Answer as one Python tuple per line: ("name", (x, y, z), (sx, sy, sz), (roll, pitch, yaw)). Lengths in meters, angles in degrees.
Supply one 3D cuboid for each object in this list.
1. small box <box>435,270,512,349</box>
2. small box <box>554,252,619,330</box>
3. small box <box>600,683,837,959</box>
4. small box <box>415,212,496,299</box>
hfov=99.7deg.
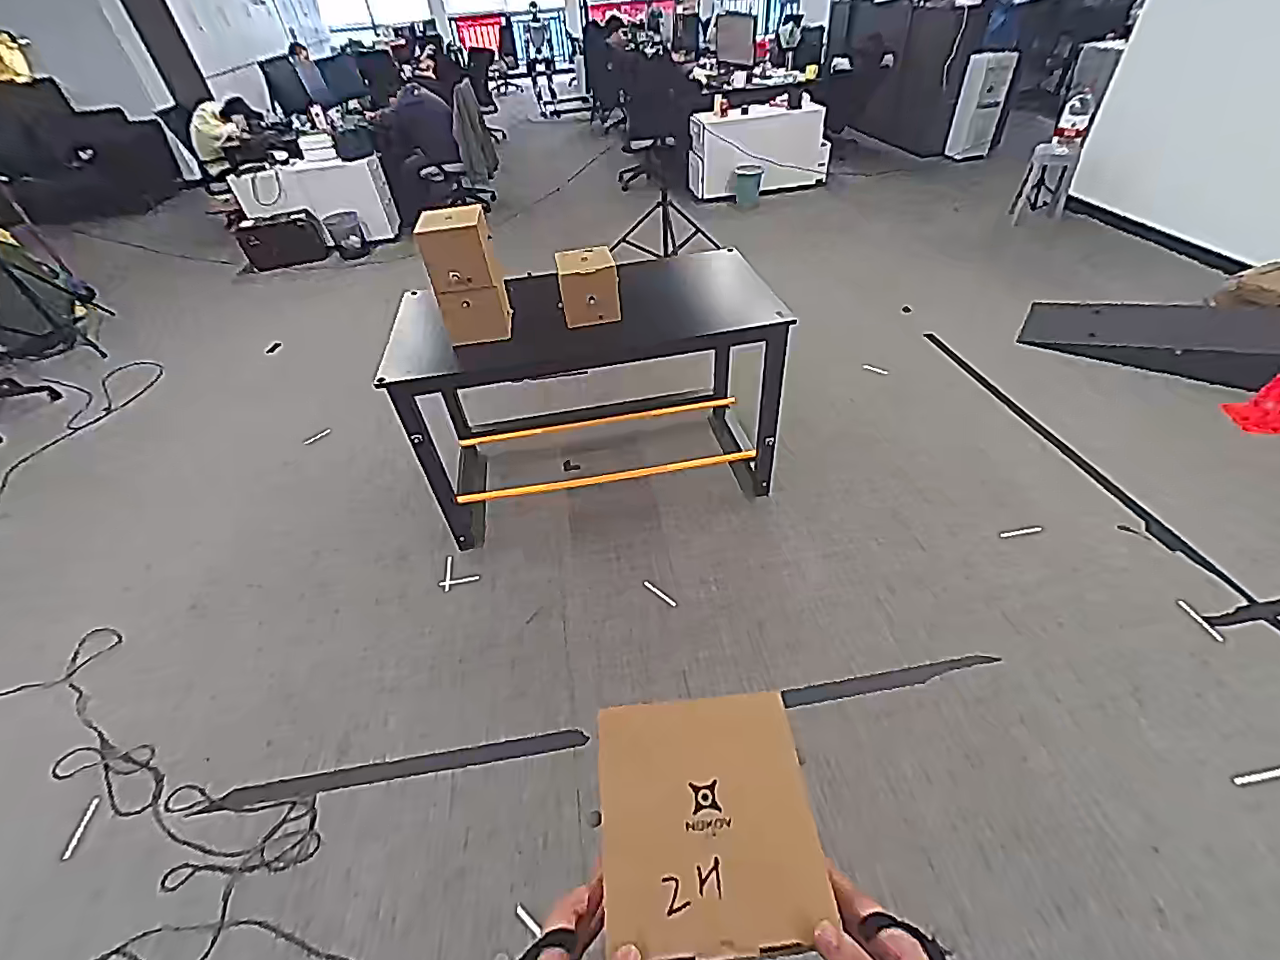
("small box", (-0.493, -0.508, 1.621), (0.179, 0.176, 0.168), (-8, 43, -4))
("small box", (-0.164, -0.575, 1.661), (0.168, 0.176, 0.179), (-11, 43, -5))
("small box", (0.053, 0.309, 0.488), (0.168, 0.176, 0.179), (-6, 46, -1))
("small box", (-0.506, -0.626, 1.509), (0.168, 0.176, 0.179), (-11, 44, -4))
